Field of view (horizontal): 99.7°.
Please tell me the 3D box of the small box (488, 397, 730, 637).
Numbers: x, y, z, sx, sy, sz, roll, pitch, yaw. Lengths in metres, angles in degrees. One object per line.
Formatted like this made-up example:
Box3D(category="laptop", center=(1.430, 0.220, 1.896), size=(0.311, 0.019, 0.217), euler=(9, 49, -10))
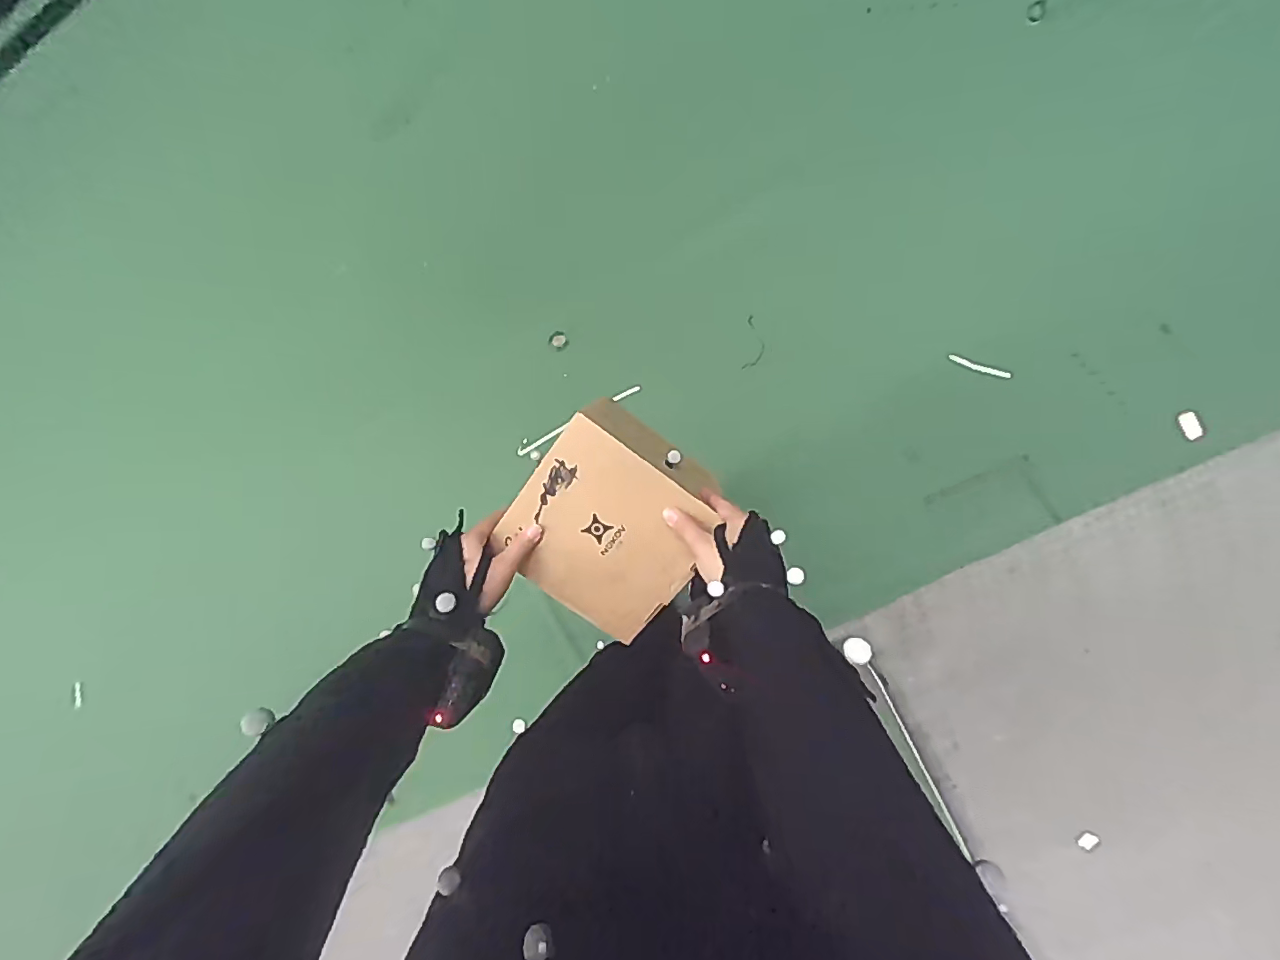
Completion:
Box3D(category="small box", center=(-0.026, 0.026, 0.587), size=(0.179, 0.176, 0.168), euler=(37, 104, -7))
